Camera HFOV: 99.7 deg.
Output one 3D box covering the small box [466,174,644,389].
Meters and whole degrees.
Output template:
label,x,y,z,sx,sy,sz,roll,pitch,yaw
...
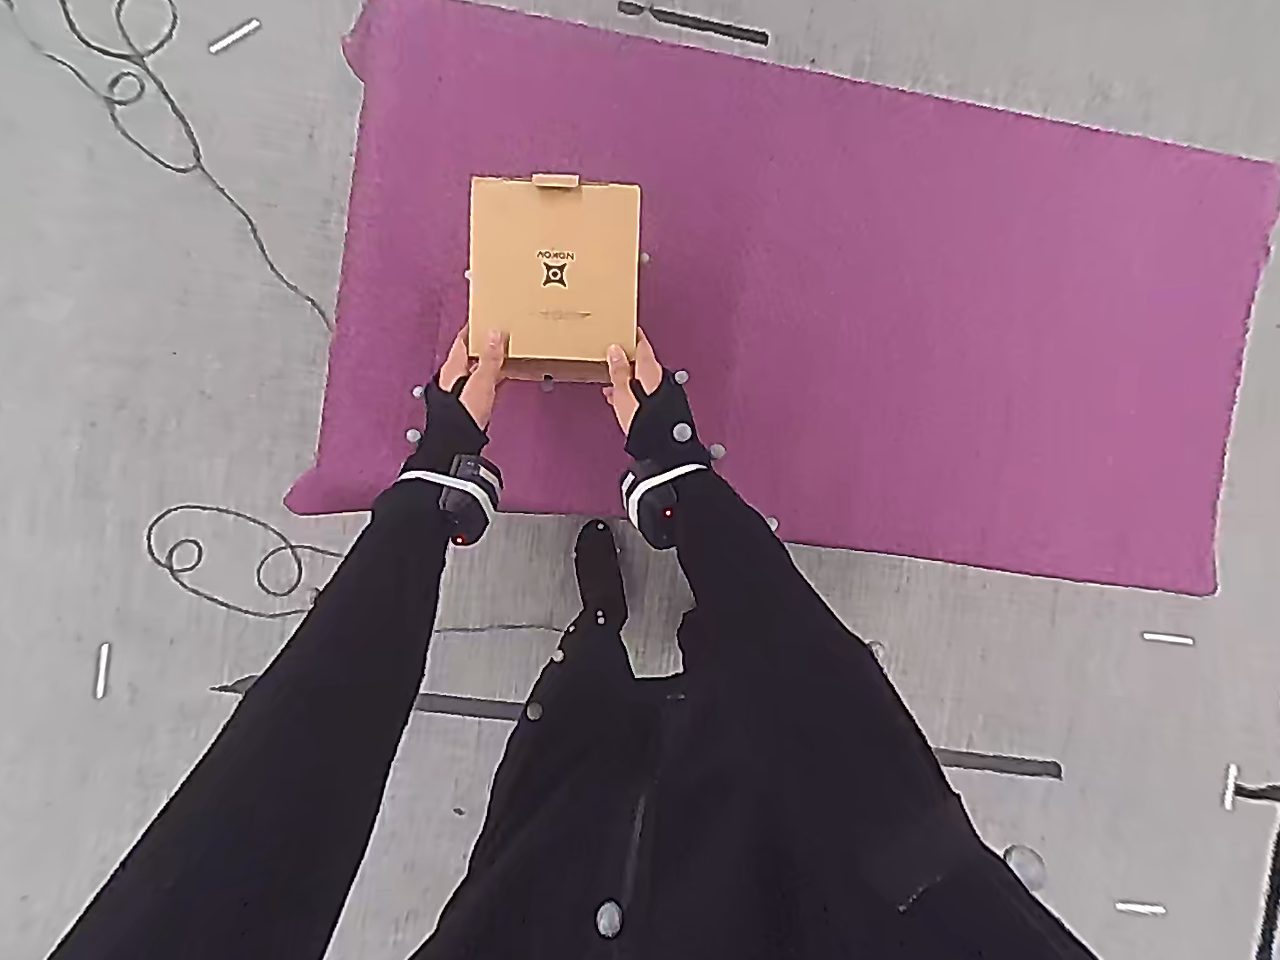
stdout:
label,x,y,z,sx,sy,sz,roll,pitch,yaw
small box,-0.087,-0.204,0.602,0.168,0.176,0.179,2,92,-3
